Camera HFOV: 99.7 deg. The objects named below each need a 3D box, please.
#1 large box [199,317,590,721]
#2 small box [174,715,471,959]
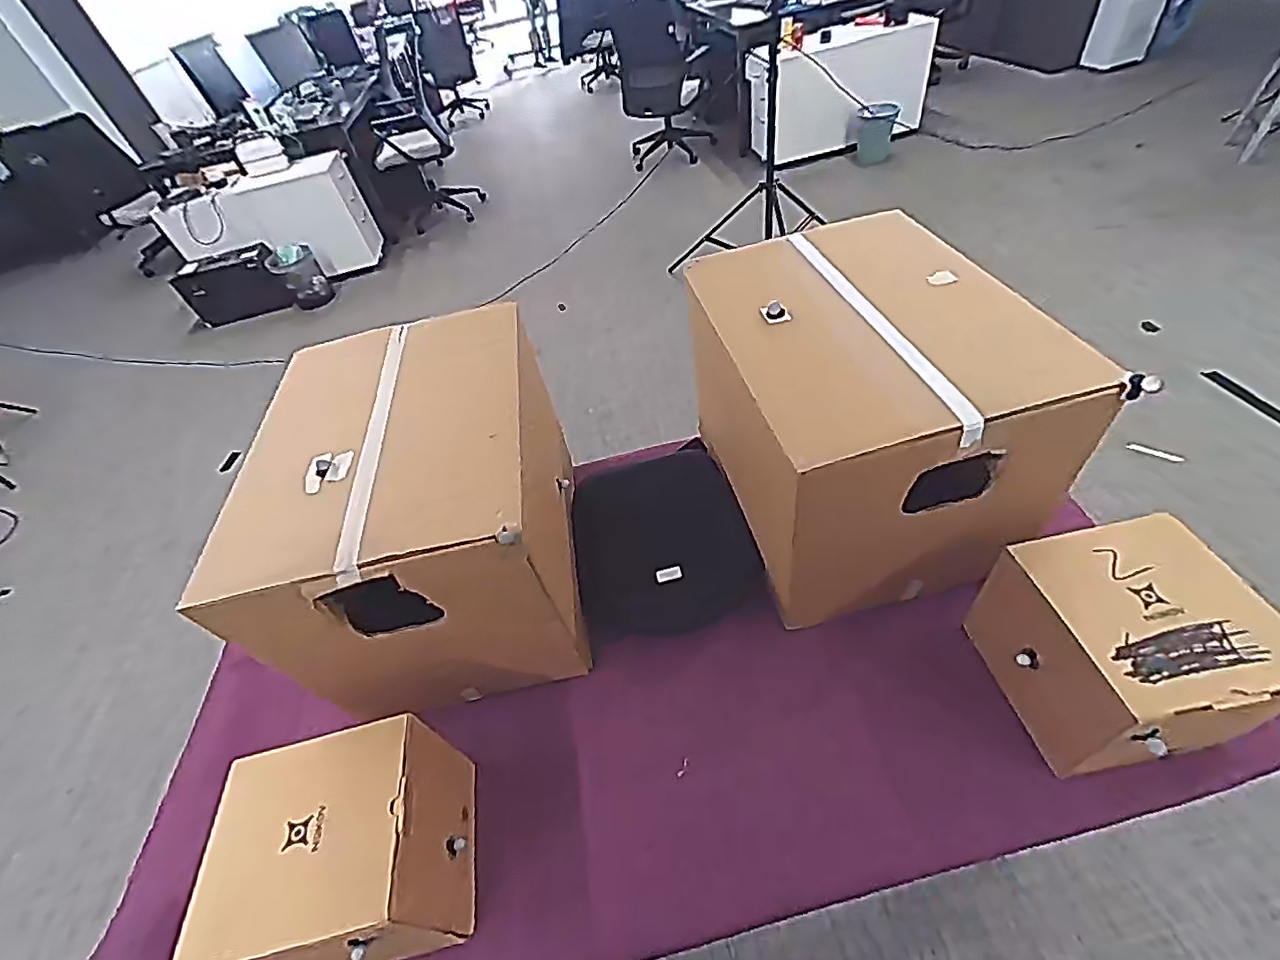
[{"bbox_3d":[-0.267,0.047,0.727,0.320,0.320,0.408,-14,49,0],"label":"large box"},{"bbox_3d":[-0.285,0.365,0.534,0.179,0.176,0.168,-15,46,-3],"label":"small box"}]
